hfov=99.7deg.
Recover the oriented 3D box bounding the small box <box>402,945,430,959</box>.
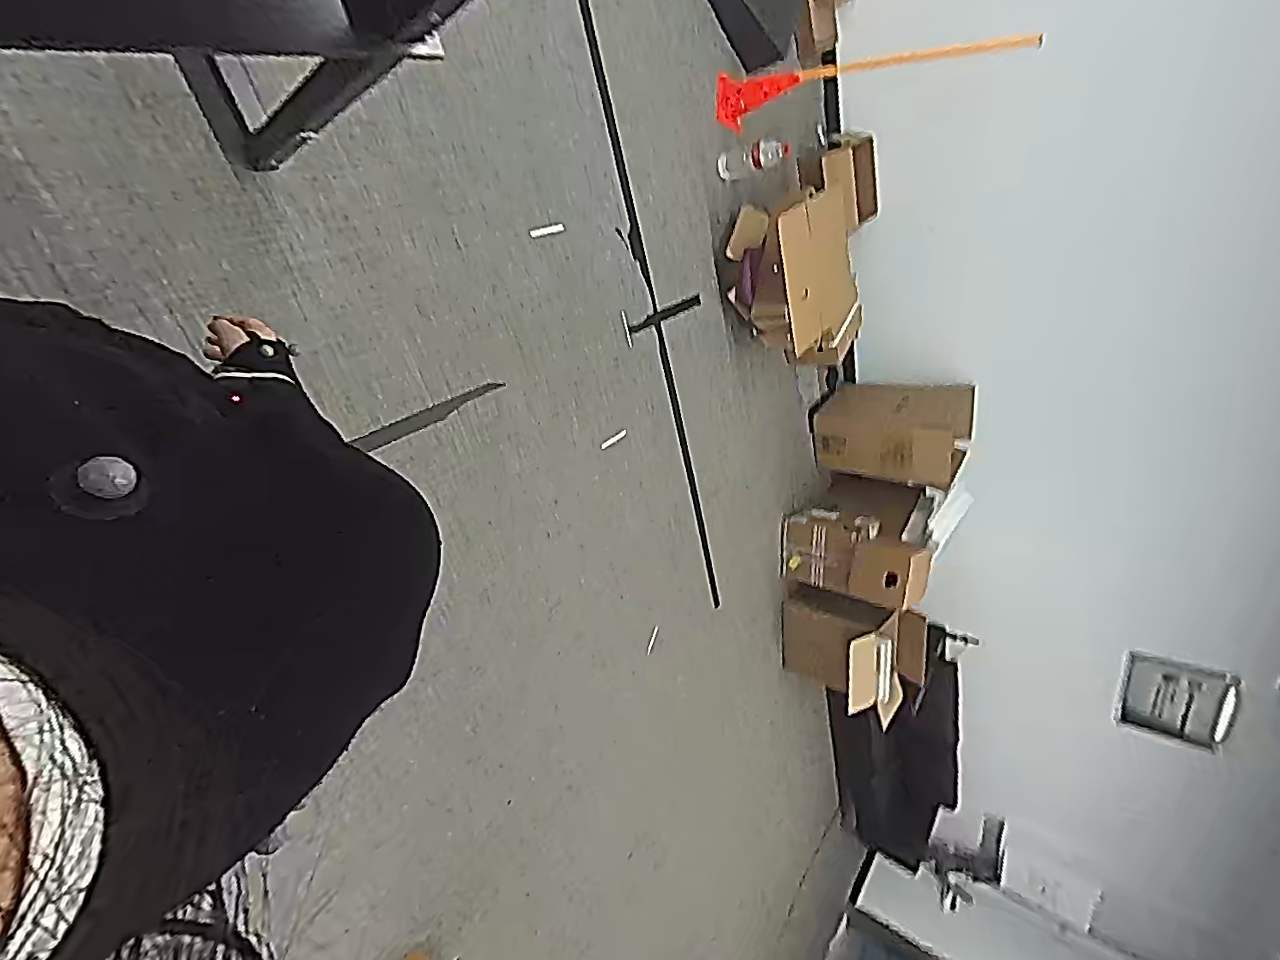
[{"bbox_3d":[-0.727,1.661,1.723,0.179,0.176,0.168,-30,119,-43],"label":"small box"}]
